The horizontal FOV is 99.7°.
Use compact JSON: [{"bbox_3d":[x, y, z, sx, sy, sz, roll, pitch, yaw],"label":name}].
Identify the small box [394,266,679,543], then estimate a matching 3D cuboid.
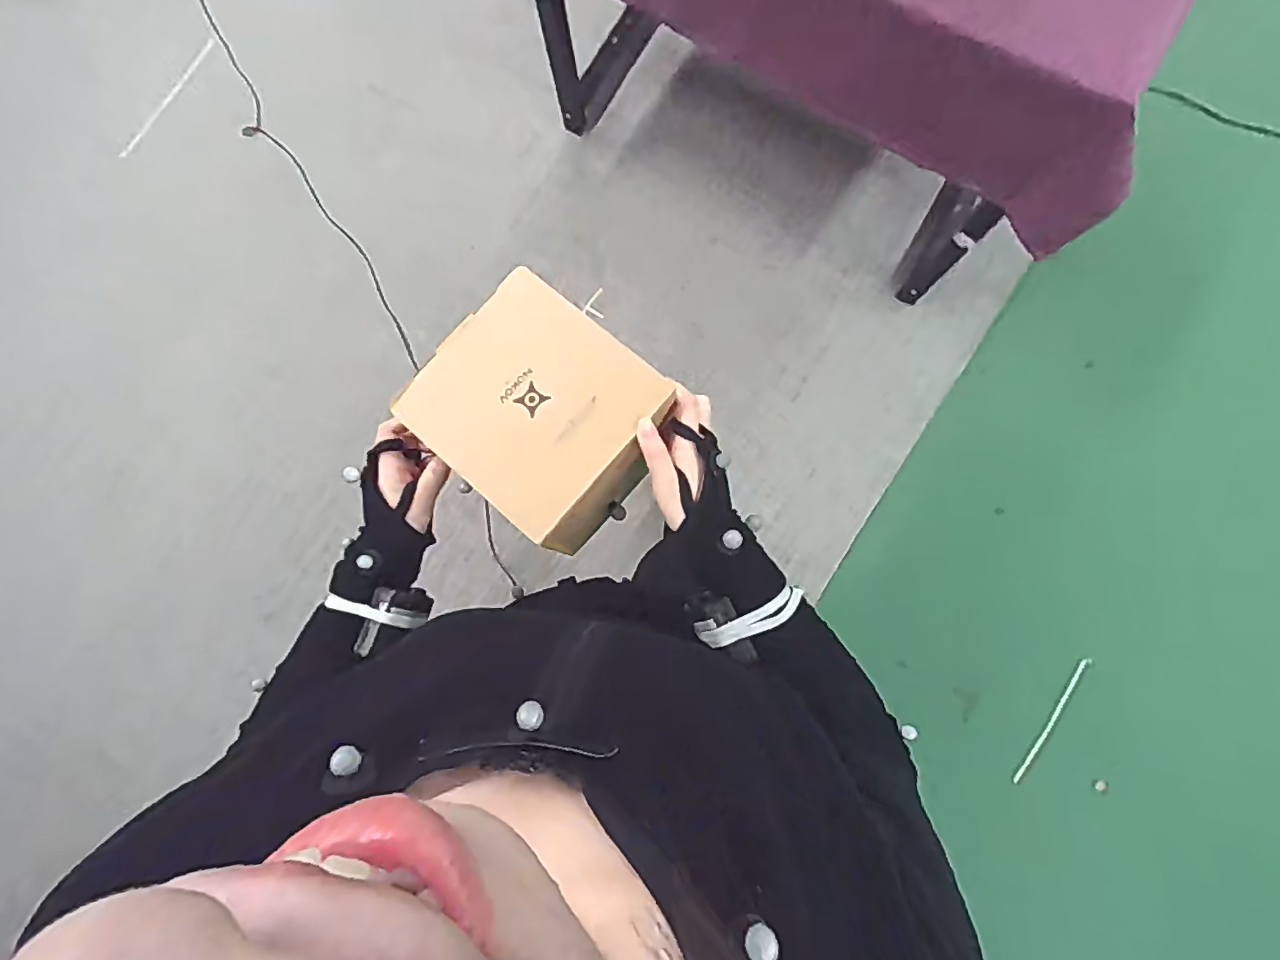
[{"bbox_3d":[-0.083,-0.054,0.514,0.179,0.176,0.168,41,83,8],"label":"small box"}]
